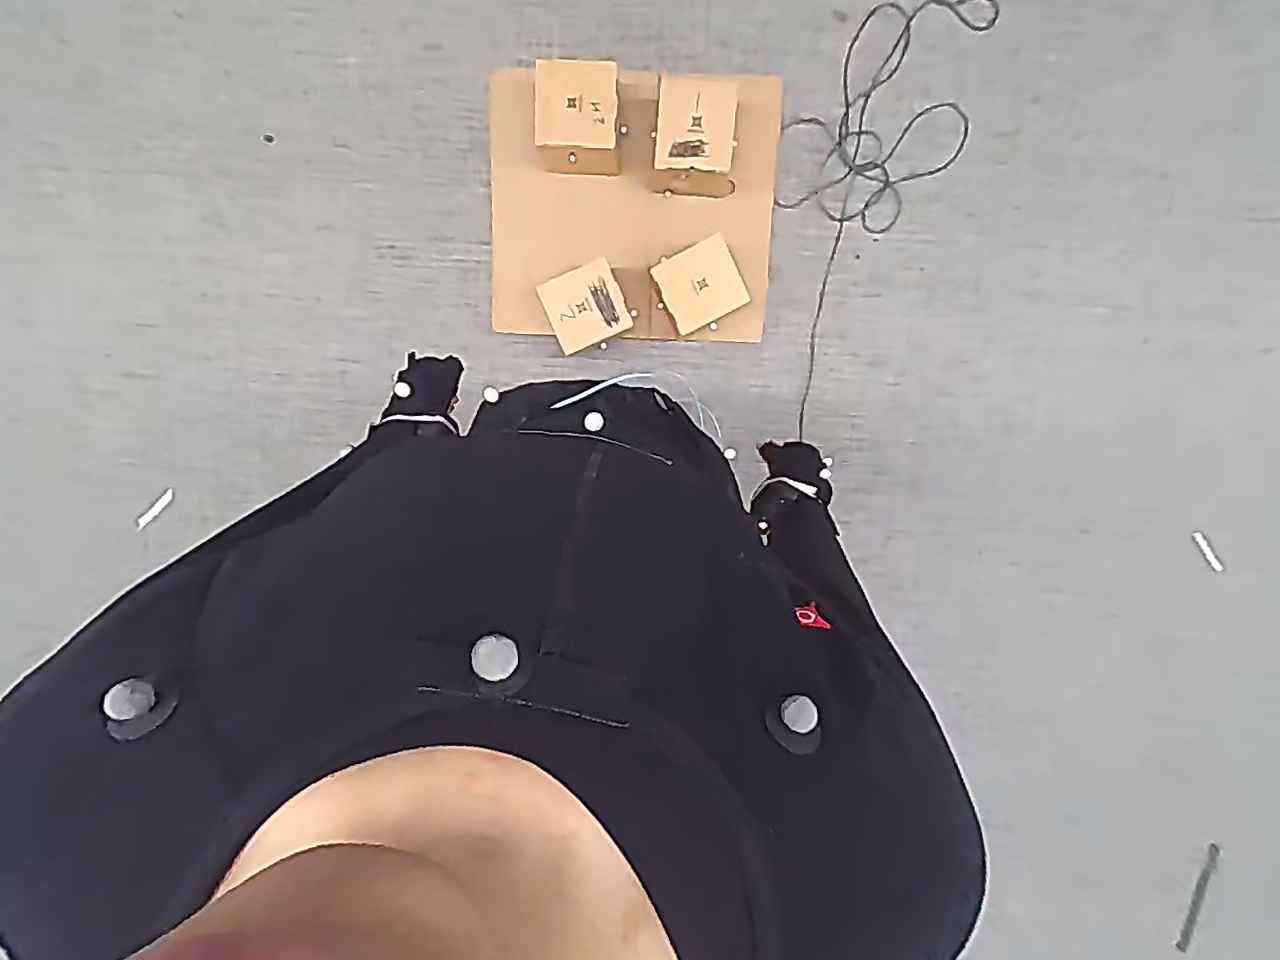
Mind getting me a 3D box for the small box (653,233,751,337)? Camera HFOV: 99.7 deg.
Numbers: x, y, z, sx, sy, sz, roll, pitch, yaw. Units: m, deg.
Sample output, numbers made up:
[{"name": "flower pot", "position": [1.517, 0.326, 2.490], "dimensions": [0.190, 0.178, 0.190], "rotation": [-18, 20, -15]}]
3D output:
[{"name": "small box", "position": [0.142, -0.457, 1.296], "dimensions": [0.179, 0.176, 0.168], "rotation": [-26, 99, 8]}]
